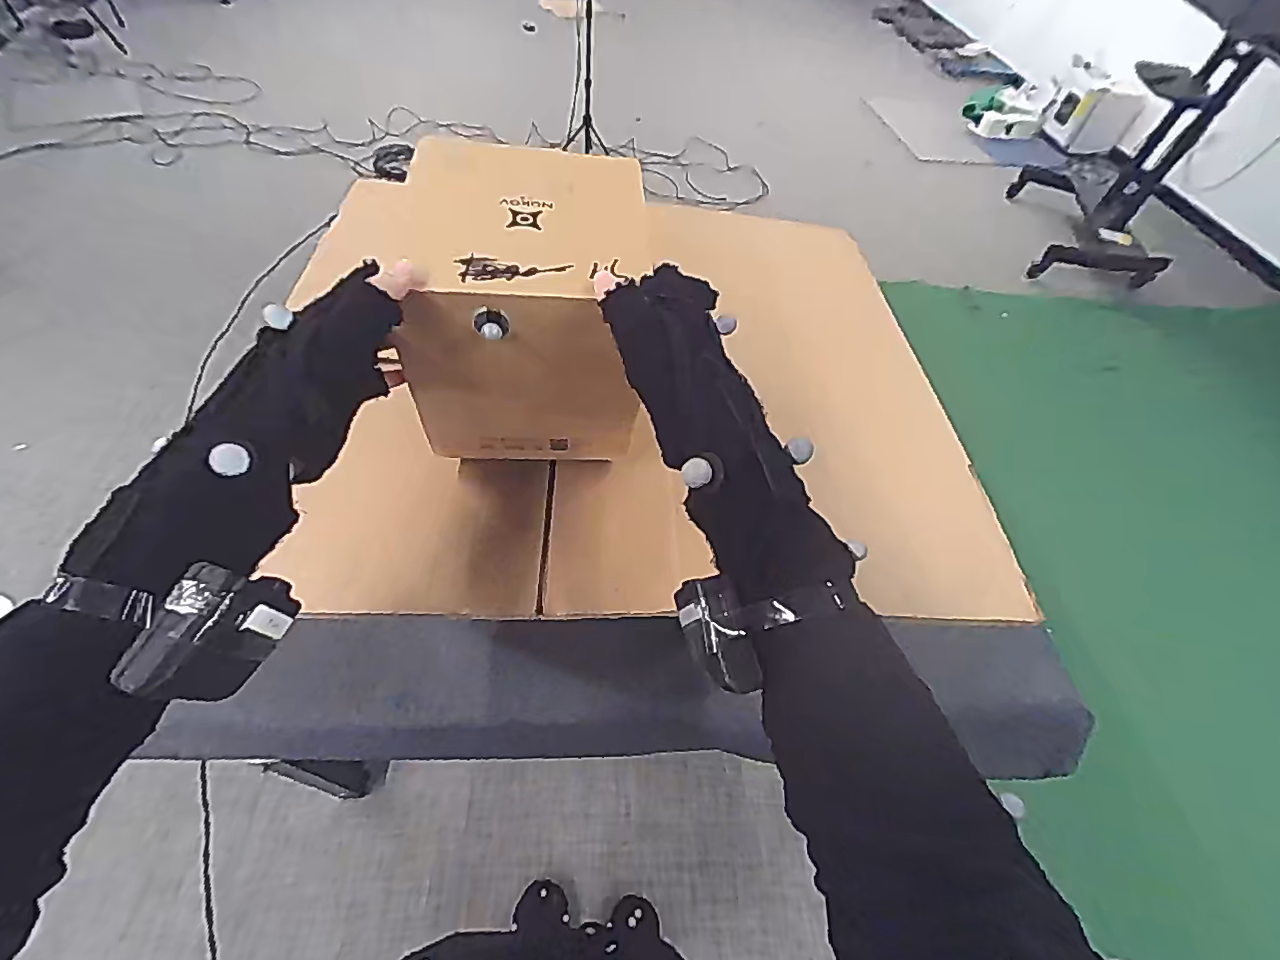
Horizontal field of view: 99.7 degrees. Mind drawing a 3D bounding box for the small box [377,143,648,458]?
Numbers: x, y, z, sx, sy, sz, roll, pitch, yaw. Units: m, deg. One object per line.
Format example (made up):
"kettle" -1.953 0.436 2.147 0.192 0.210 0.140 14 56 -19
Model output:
"small box" -0.088 -0.139 0.439 0.168 0.176 0.179 0 56 -7
